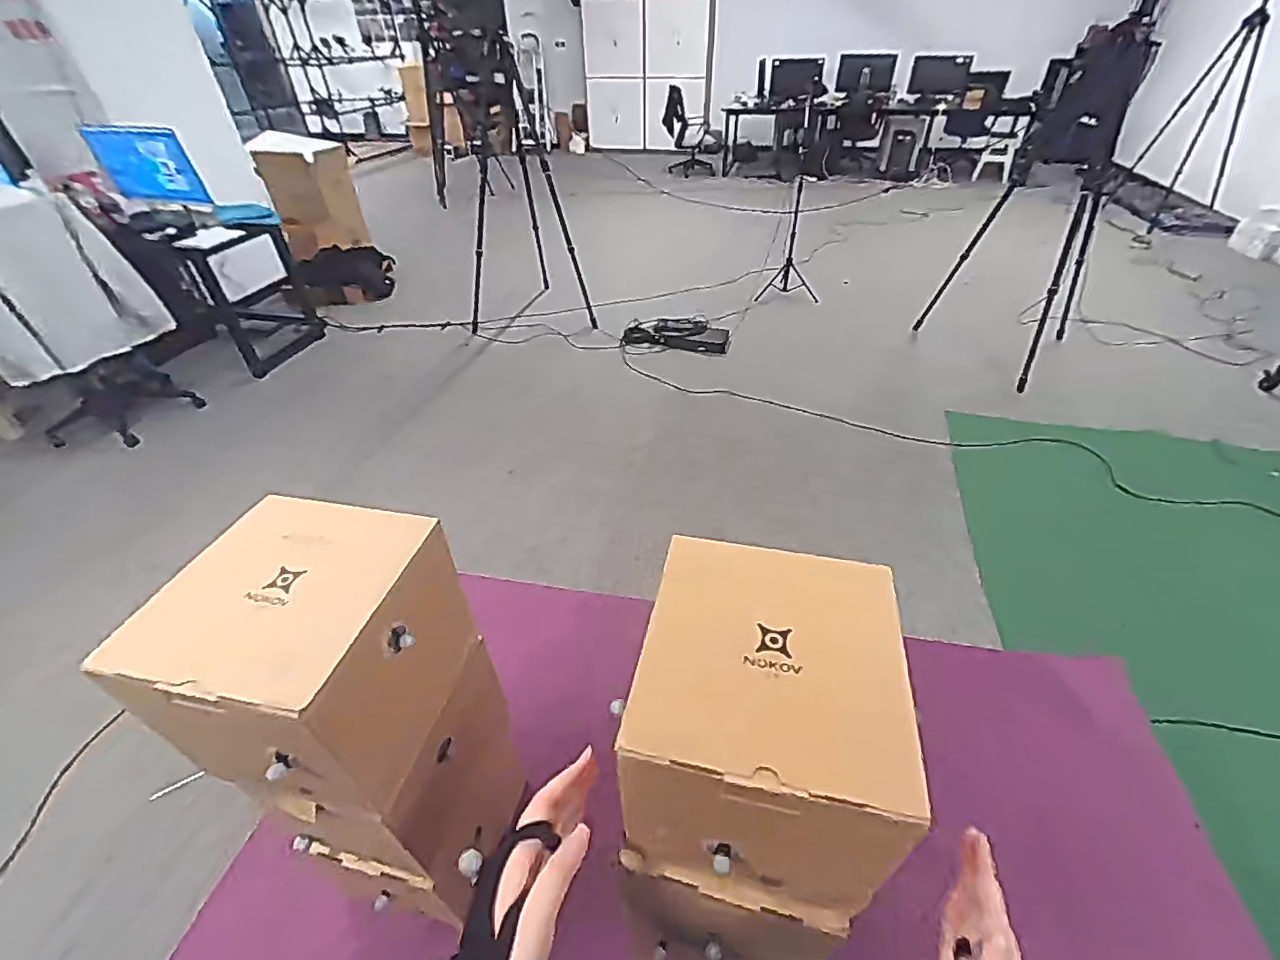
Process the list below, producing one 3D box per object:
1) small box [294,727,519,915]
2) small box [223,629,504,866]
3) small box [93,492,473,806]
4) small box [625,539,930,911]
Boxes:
[{"bbox_3d":[-0.261,0.390,0.658,0.168,0.176,0.179,10,42,11],"label":"small box"},{"bbox_3d":[-0.257,0.260,0.558,0.168,0.176,0.179,9,40,12],"label":"small box"},{"bbox_3d":[-0.259,0.138,0.450,0.168,0.176,0.179,9,41,10],"label":"small box"},{"bbox_3d":[0.088,0.175,0.401,0.168,0.176,0.179,9,41,11],"label":"small box"}]
